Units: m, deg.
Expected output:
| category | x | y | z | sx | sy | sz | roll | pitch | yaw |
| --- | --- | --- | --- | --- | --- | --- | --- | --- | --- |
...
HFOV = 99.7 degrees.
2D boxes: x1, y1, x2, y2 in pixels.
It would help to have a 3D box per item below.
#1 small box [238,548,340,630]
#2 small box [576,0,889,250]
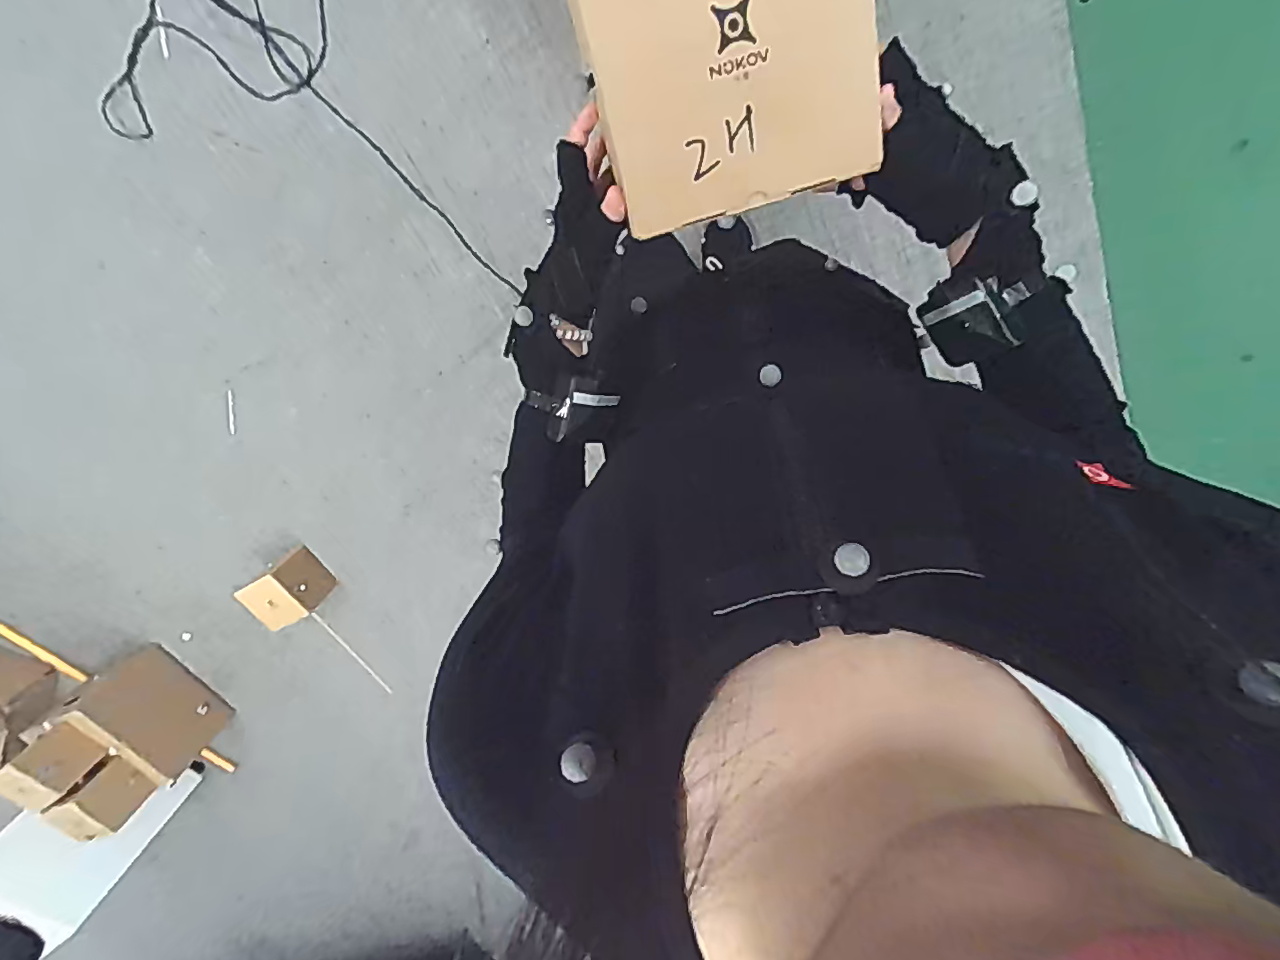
| category | x | y | z | sx | sy | sz | roll | pitch | yaw |
| --- | --- | --- | --- | --- | --- | --- | --- | --- | --- |
| small box | -1.120 | 0.341 | 1.740 | 0.168 | 0.176 | 0.179 | -26 | 113 | 15 |
| small box | 0.053 | -0.278 | 0.382 | 0.168 | 0.176 | 0.179 | -15 | 117 | 4 |
